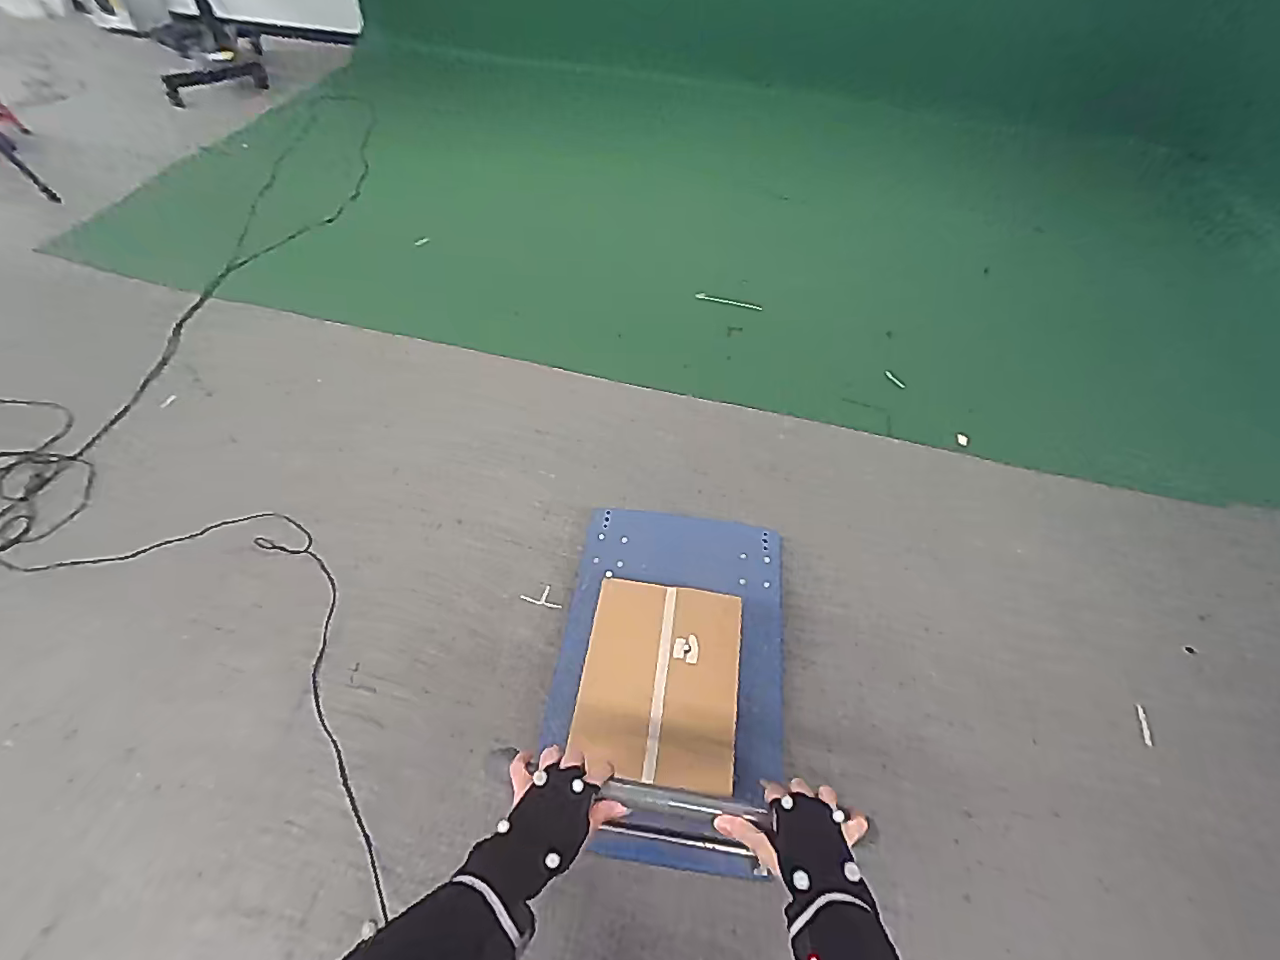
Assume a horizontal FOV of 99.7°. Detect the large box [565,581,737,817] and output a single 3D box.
[{"bbox_3d":[0.035,0.491,1.212,0.320,0.320,0.408,8,53,4],"label":"large box"}]
